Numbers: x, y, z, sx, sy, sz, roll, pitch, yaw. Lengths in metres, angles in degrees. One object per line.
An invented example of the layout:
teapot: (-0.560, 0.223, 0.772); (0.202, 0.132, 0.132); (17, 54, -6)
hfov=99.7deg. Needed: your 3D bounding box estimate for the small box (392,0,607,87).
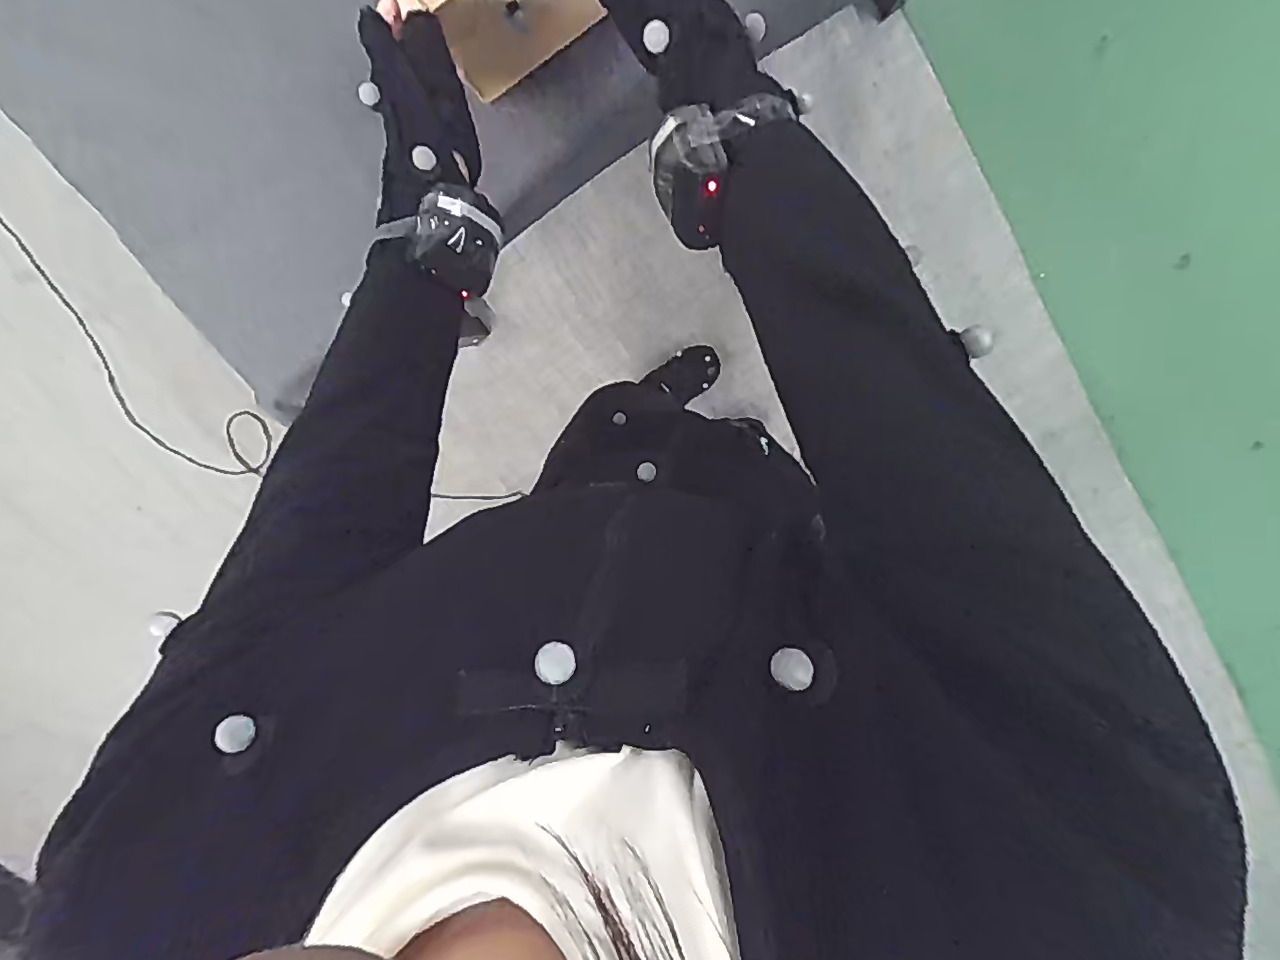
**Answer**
small box: (-0.131, -0.474, 0.441); (0.179, 0.176, 0.168); (-28, 104, 15)
